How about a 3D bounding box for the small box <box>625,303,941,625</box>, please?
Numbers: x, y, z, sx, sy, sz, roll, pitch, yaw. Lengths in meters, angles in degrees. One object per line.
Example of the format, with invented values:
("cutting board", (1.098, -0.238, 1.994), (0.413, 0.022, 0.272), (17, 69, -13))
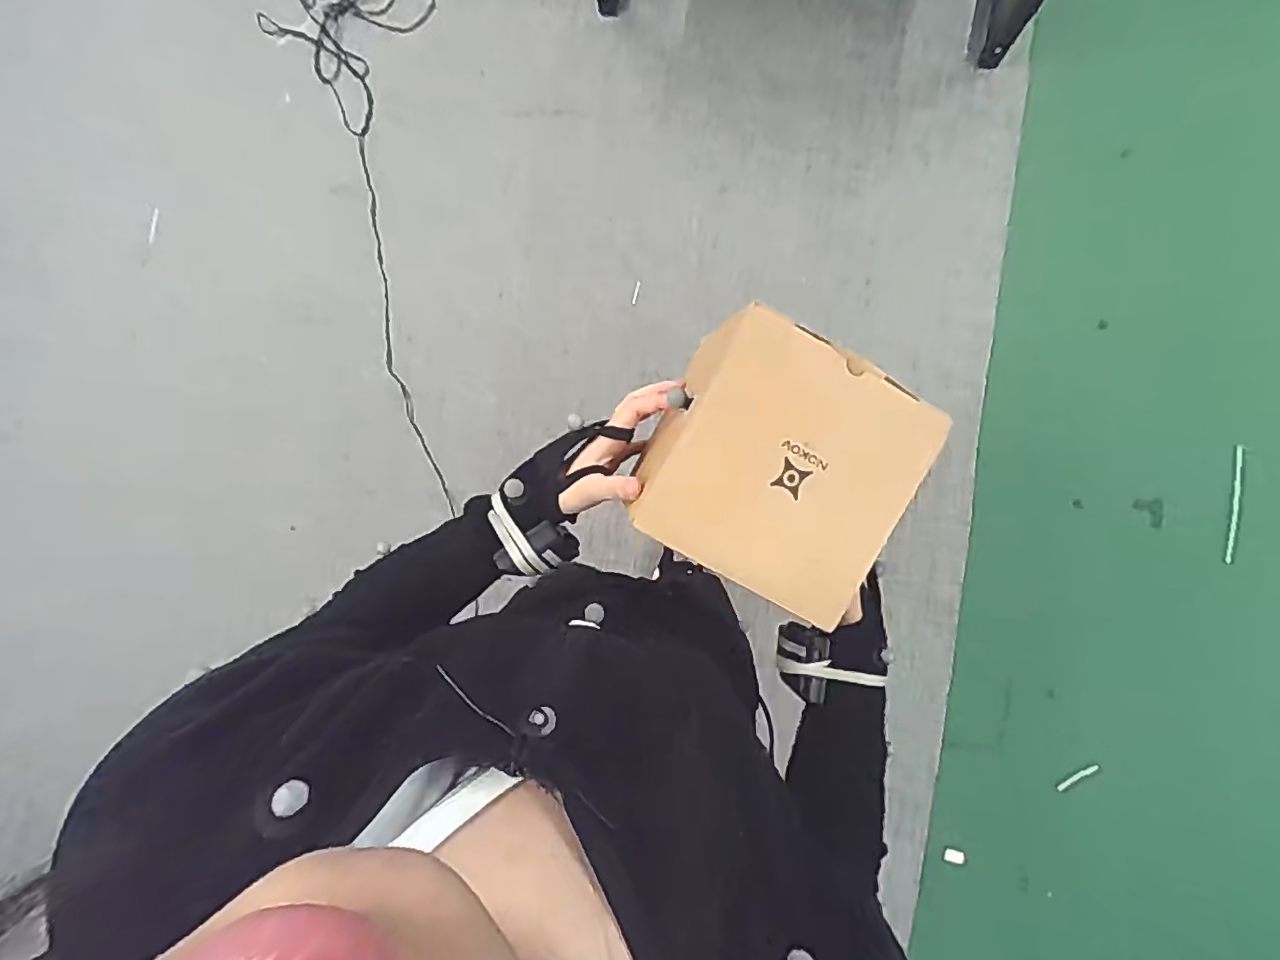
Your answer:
("small box", (0.097, -0.014, 0.455), (0.168, 0.176, 0.179), (28, 92, -6))
